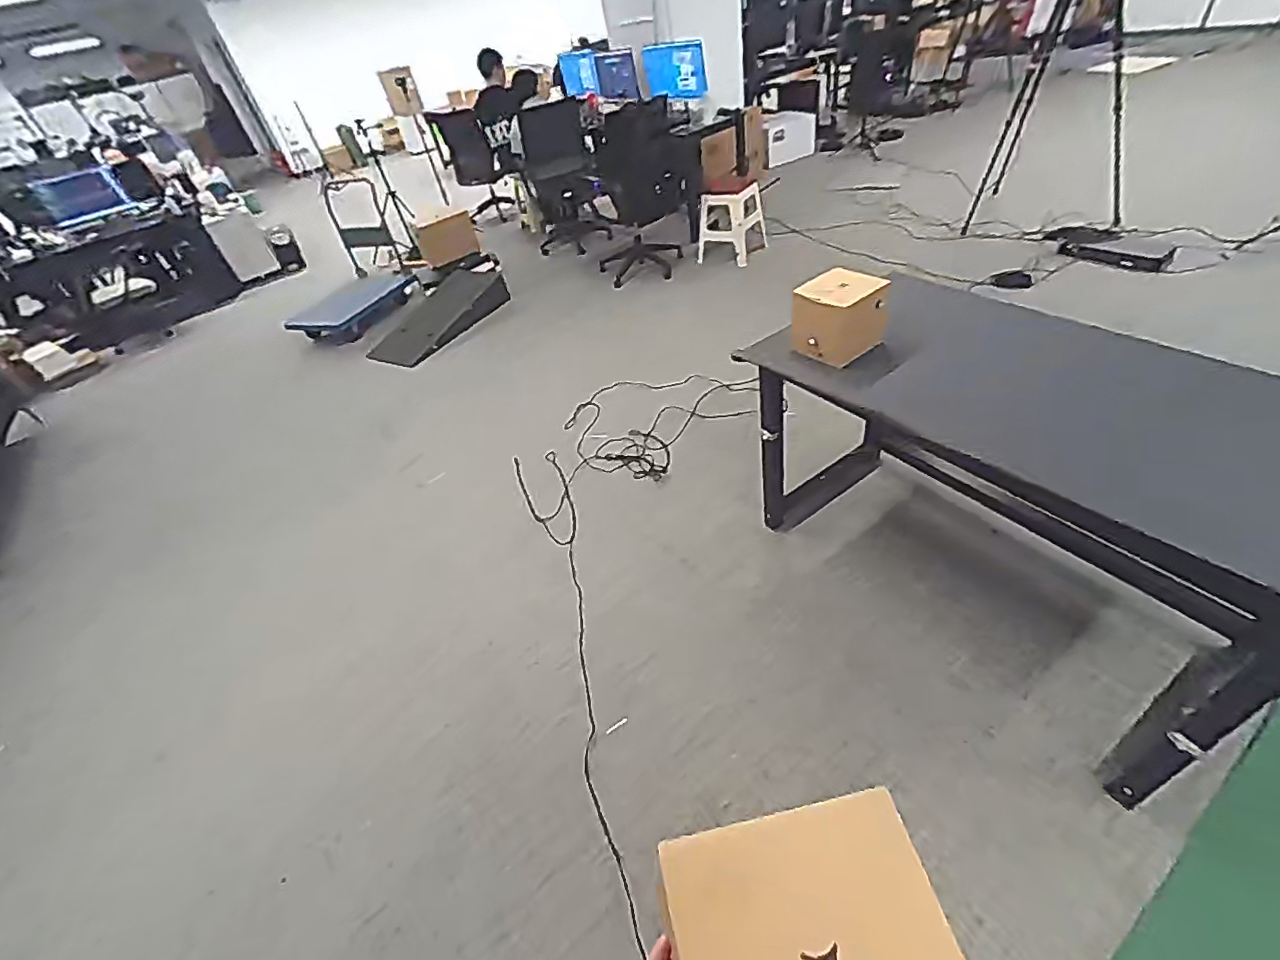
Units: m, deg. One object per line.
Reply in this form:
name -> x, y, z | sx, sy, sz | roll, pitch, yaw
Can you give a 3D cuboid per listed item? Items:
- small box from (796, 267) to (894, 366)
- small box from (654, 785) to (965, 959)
small box -> 0.518, -0.422, 1.396 | 0.179, 0.176, 0.168 | -31, 45, -20
small box -> 0.106, 0.339, 0.366 | 0.168, 0.176, 0.179 | -9, 49, -8
